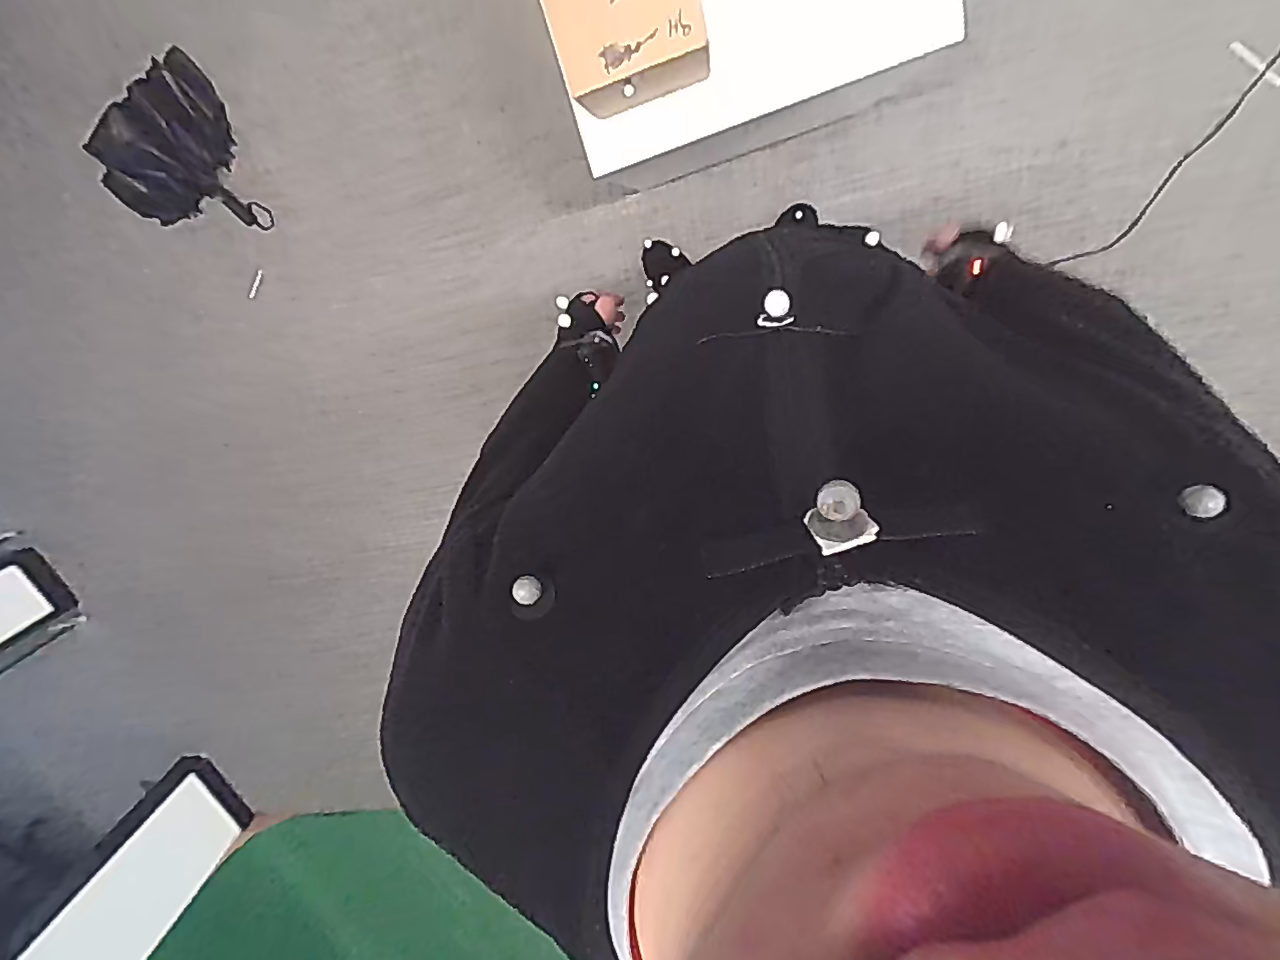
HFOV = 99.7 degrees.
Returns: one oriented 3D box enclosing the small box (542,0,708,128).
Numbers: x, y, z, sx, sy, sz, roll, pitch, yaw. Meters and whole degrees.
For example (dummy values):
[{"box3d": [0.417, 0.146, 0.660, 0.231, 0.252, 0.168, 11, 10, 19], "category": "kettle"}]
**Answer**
[{"box3d": [-0.018, -0.561, 0.652, 0.168, 0.176, 0.179, -13, 112, 13], "category": "small box"}]
